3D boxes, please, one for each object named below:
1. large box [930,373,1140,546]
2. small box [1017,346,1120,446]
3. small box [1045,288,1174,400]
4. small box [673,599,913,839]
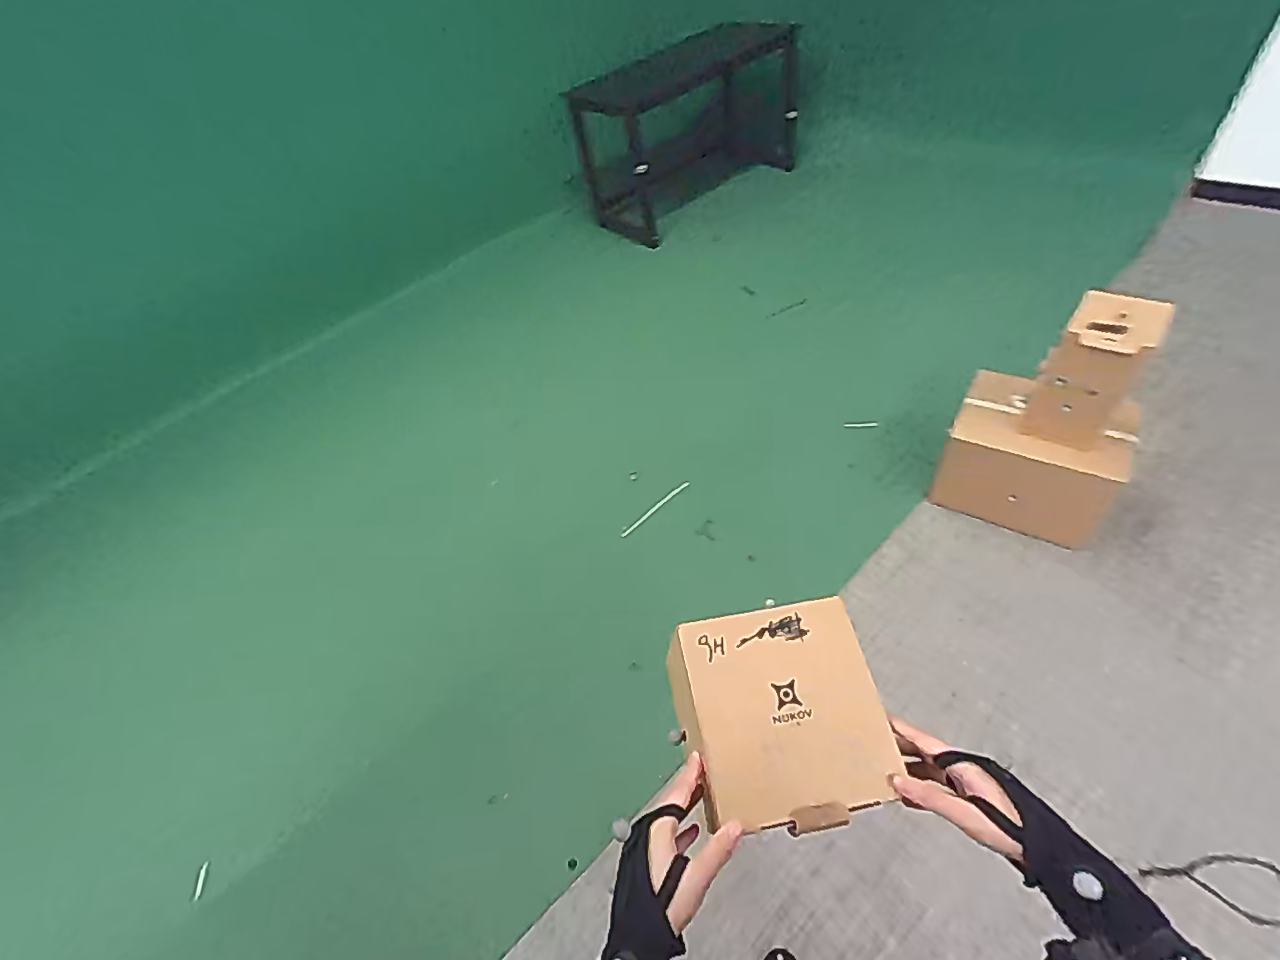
[{"bbox_3d":[1.135,-0.065,1.587,0.408,0.320,0.320,21,57,30],"label":"large box"},{"bbox_3d":[1.109,-0.213,1.392,0.179,0.176,0.168,25,62,31],"label":"small box"},{"bbox_3d":[1.087,-0.316,1.266,0.168,0.176,0.179,27,62,32],"label":"small box"},{"bbox_3d":[0.132,0.237,0.545,0.168,0.176,0.179,-8,61,-5],"label":"small box"}]
